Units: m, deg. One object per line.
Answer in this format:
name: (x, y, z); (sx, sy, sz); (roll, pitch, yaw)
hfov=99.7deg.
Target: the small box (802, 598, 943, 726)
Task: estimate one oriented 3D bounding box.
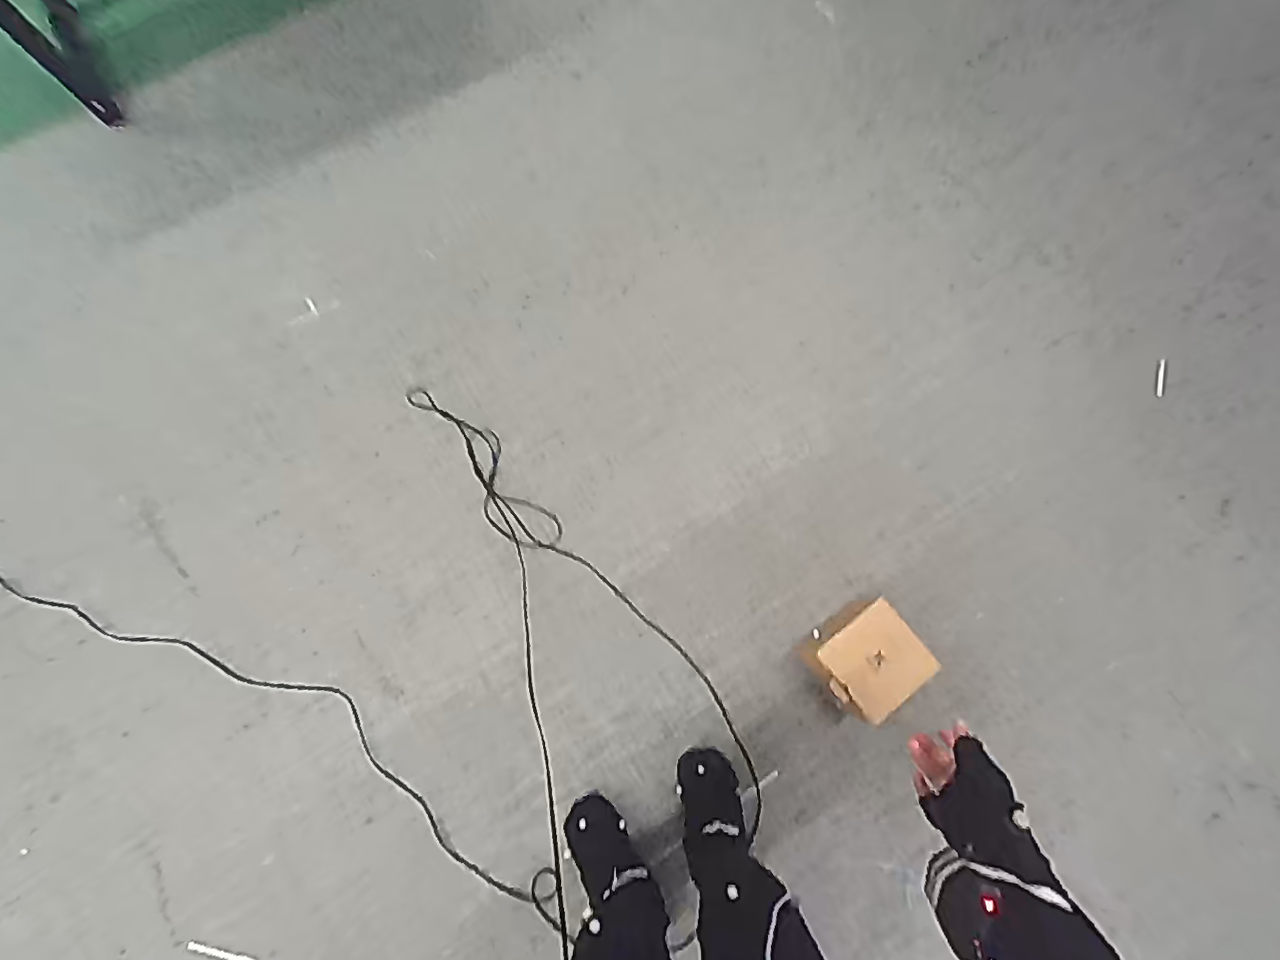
small box: (0.448, 0.358, 1.083); (0.179, 0.176, 0.168); (-36, 78, -9)
